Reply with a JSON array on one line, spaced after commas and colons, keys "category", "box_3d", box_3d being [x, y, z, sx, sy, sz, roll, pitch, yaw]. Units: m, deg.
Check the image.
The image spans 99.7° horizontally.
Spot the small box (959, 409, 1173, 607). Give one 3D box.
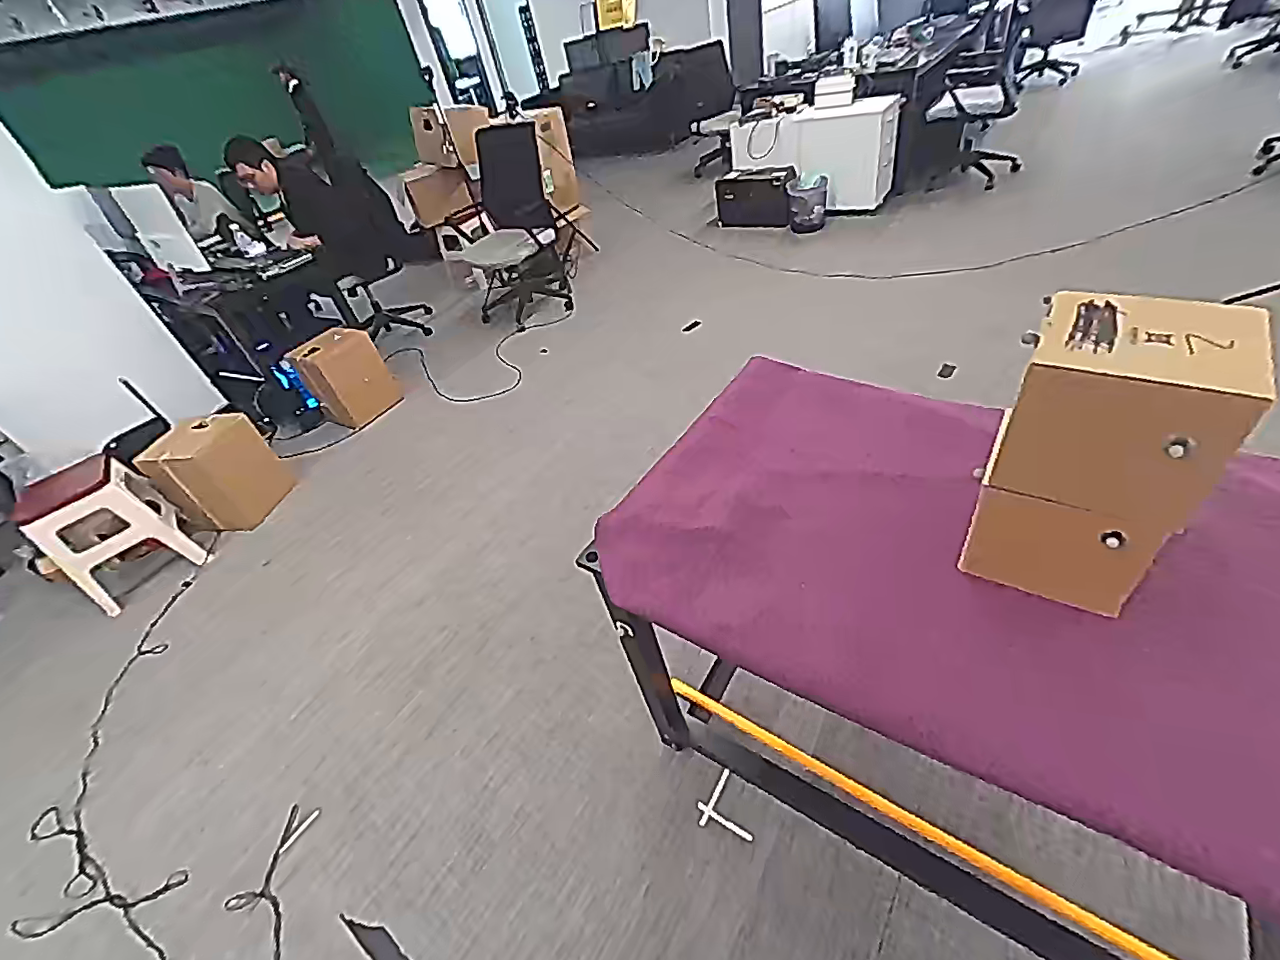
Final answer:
[{"category": "small box", "box_3d": [0.537, 0.034, 0.699, 0.179, 0.176, 0.168, 18, 50, 31]}]
